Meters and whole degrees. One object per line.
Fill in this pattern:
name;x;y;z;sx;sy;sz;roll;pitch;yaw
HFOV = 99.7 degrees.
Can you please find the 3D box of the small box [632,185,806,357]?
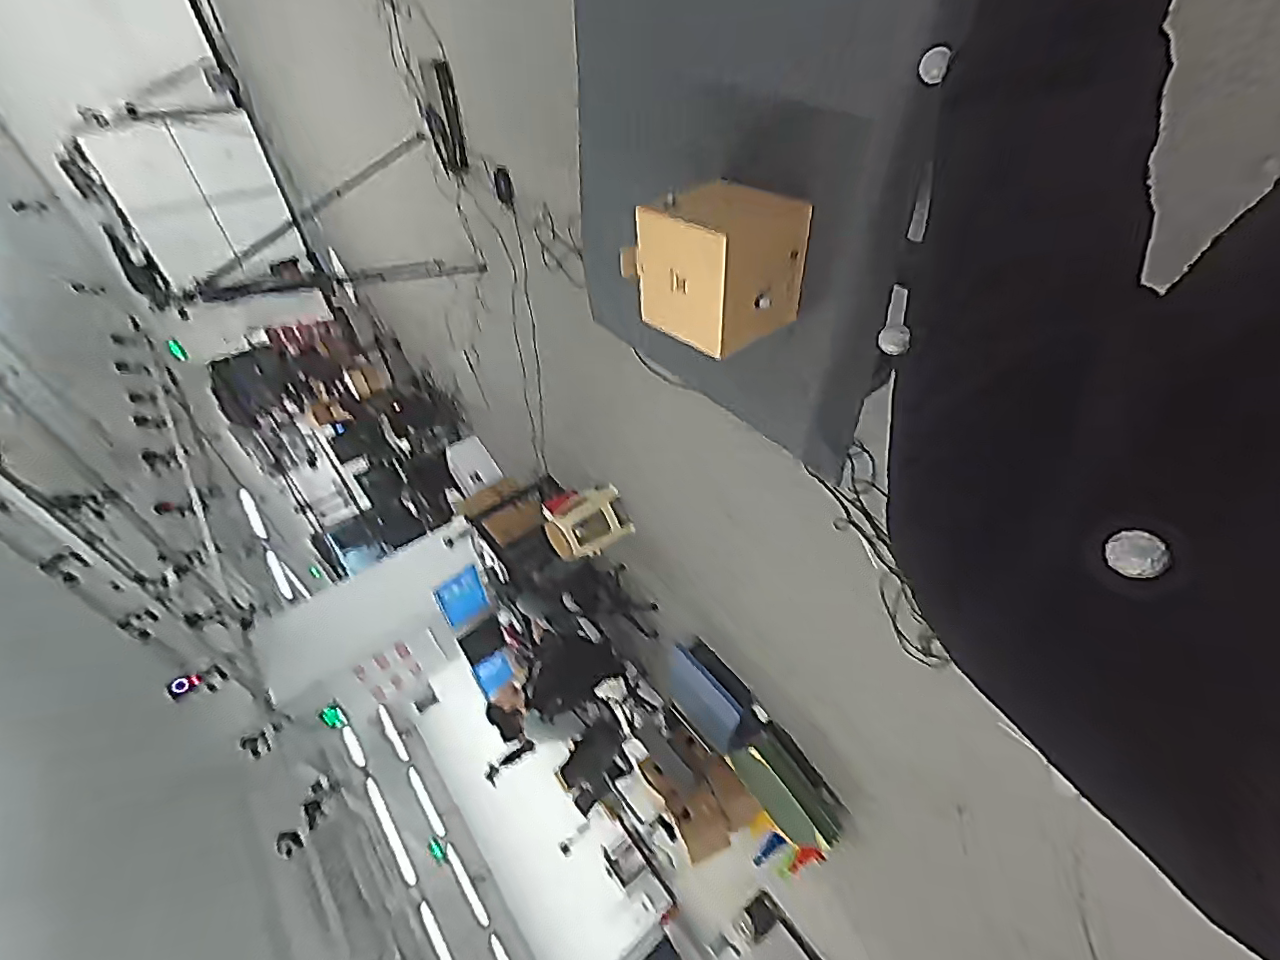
small box;0.111;-0.306;0.775;0.179;0.176;0.168;38;147;37
